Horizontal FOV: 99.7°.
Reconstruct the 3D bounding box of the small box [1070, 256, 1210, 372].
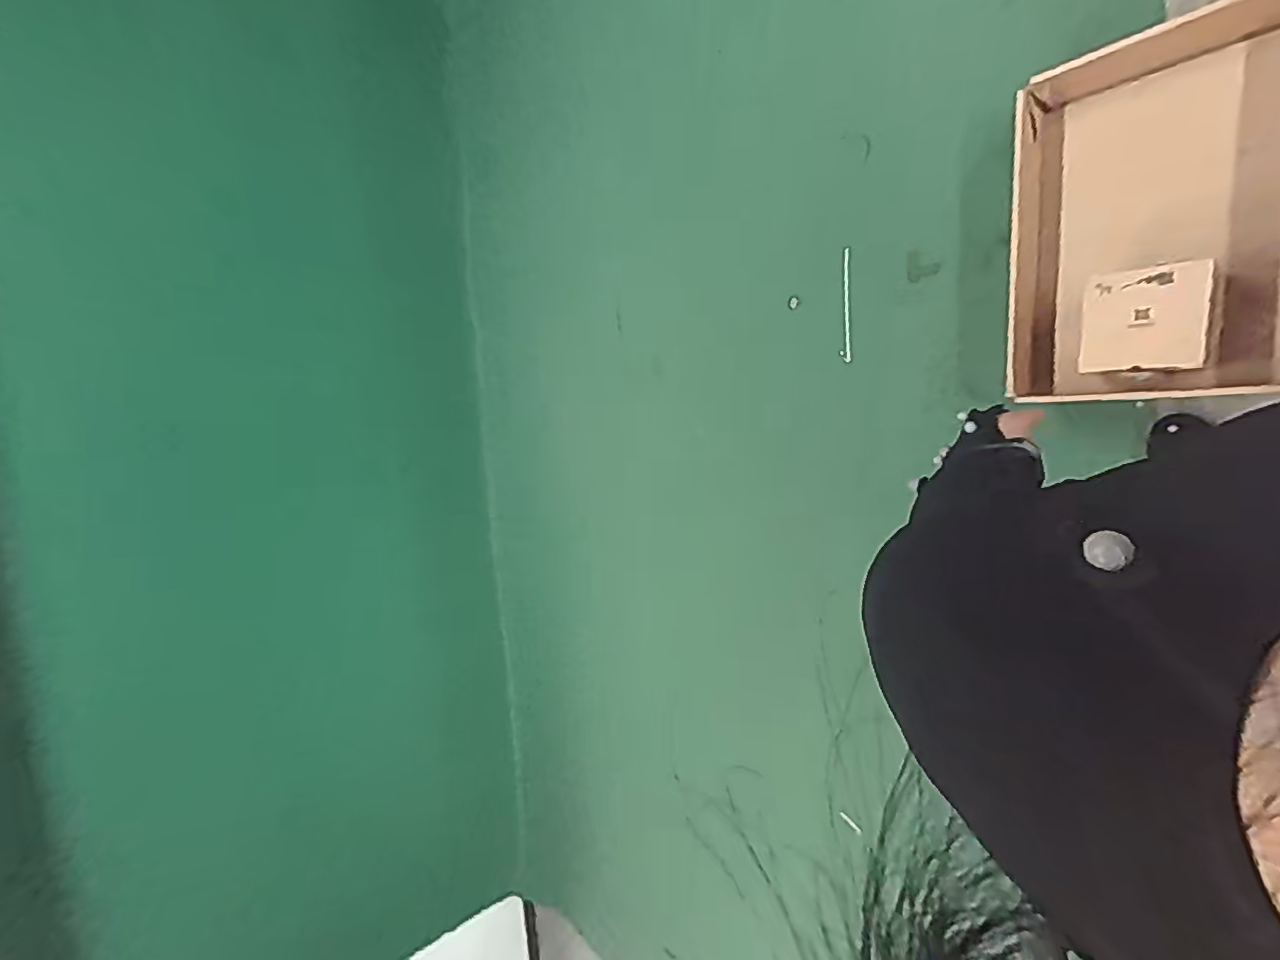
[{"bbox_3d":[0.913,-0.292,0.988,0.168,0.176,0.179,7,102,47],"label":"small box"}]
